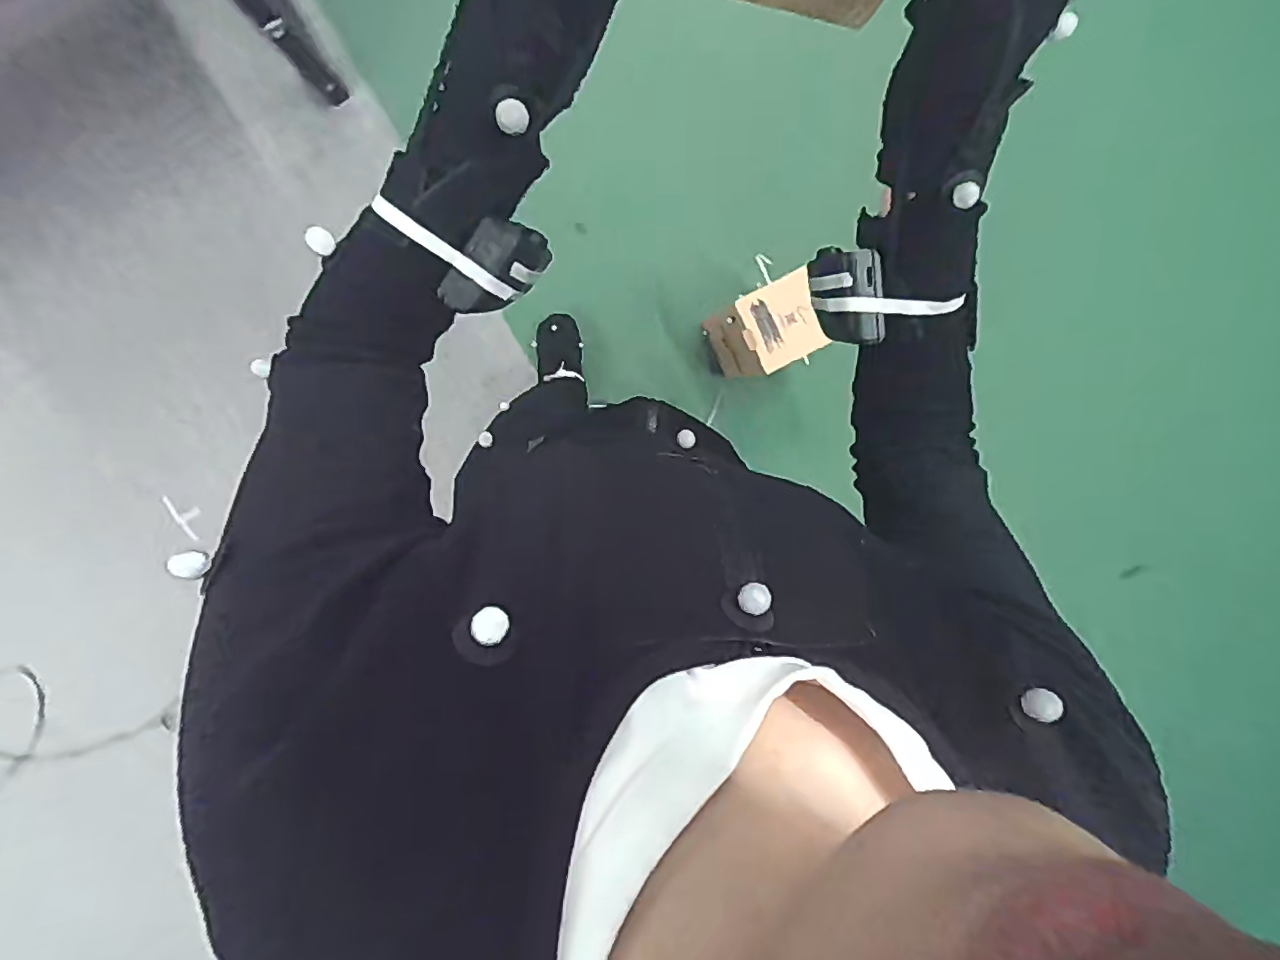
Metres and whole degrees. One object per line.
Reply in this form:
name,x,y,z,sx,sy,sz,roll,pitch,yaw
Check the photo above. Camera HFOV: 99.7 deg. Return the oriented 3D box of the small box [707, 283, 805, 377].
small box,0.279,-0.366,1.358,0.179,0.176,0.168,-26,101,0
